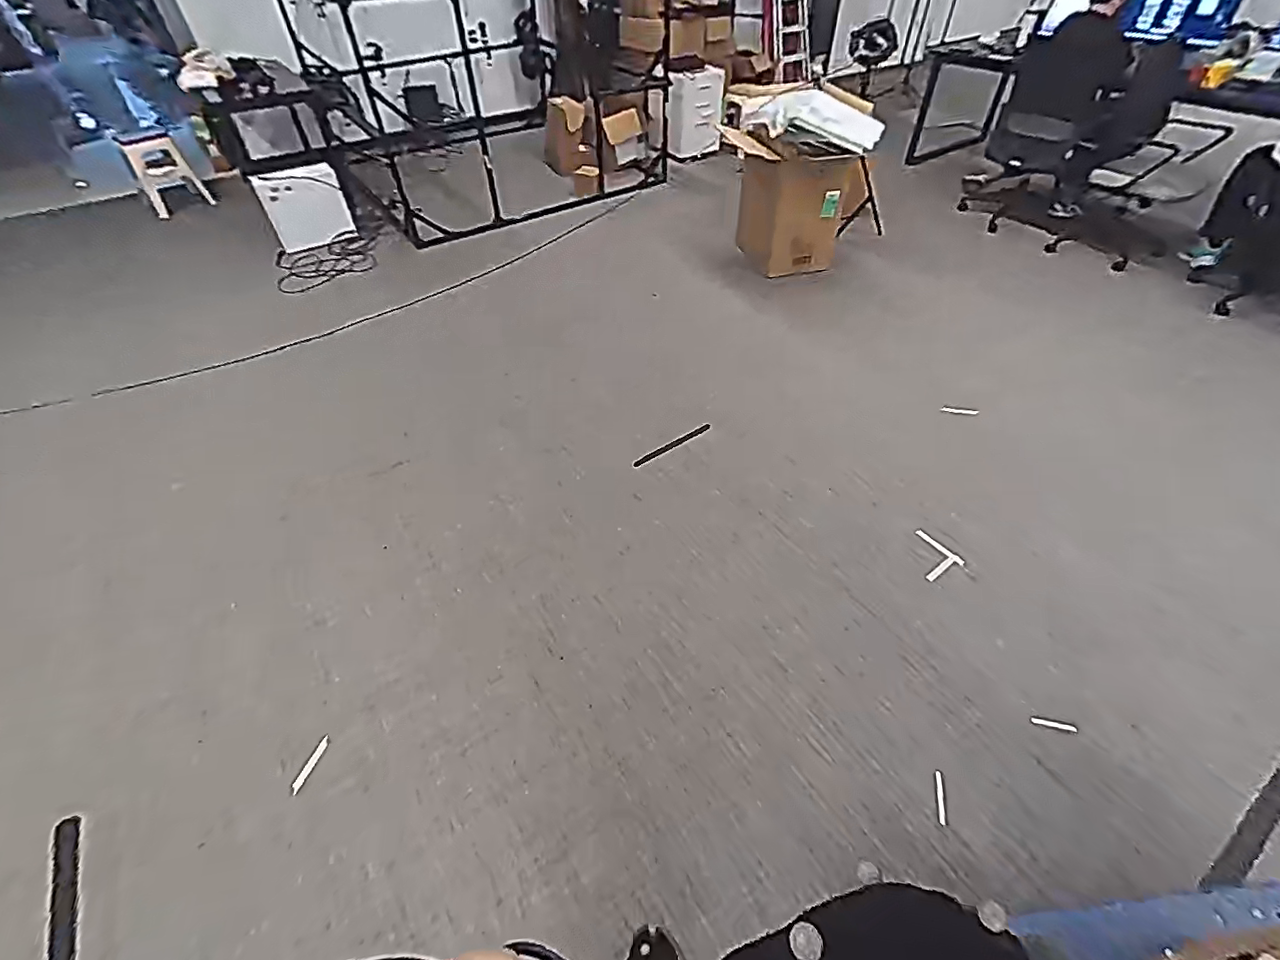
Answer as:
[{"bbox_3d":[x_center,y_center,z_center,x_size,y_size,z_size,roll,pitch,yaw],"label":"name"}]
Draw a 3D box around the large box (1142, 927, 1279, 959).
[{"bbox_3d":[0.924,0.910,0.730,0.320,0.320,0.408,-13,48,-10],"label":"large box"}]
